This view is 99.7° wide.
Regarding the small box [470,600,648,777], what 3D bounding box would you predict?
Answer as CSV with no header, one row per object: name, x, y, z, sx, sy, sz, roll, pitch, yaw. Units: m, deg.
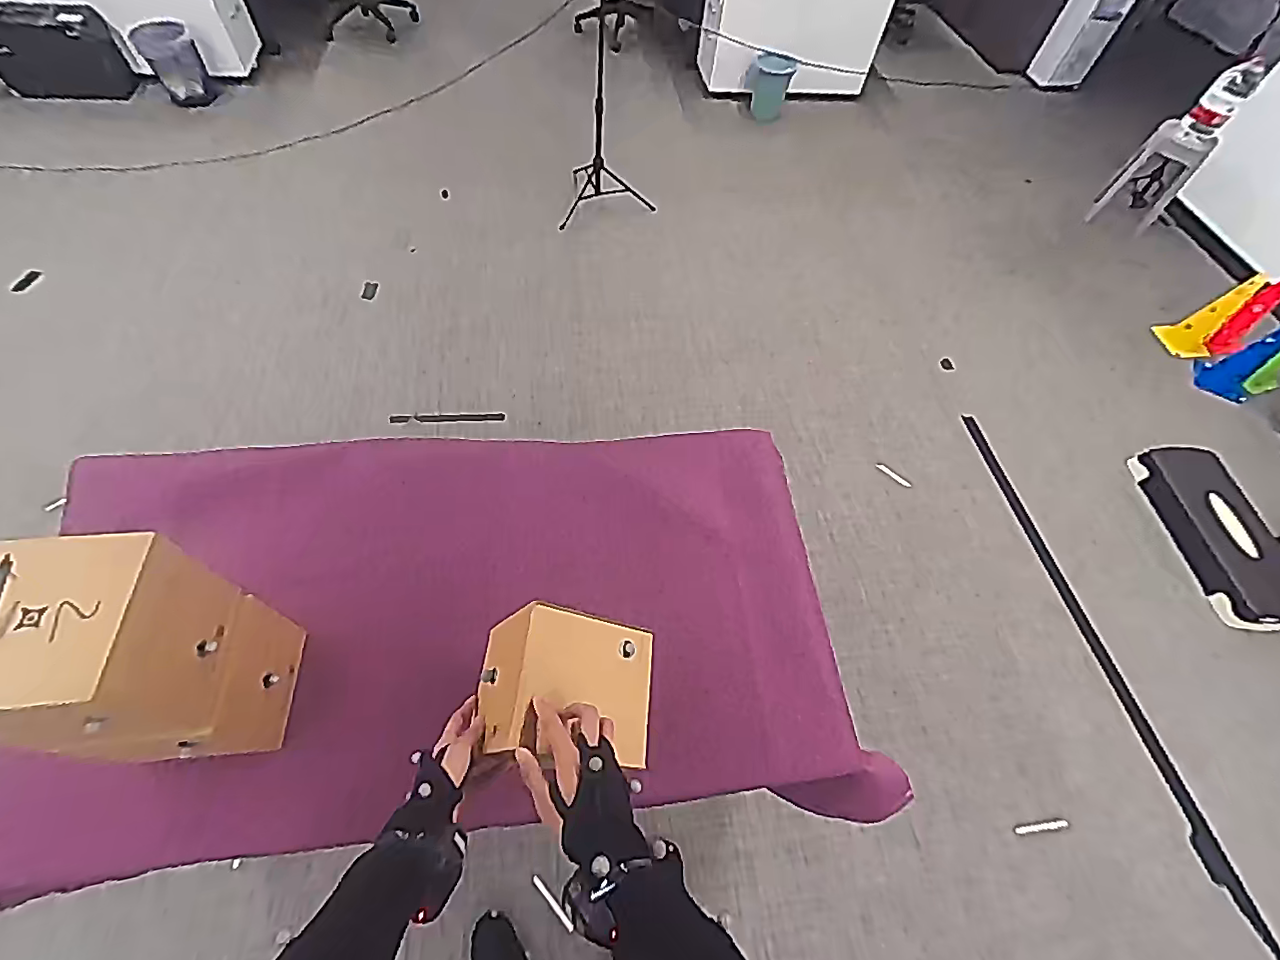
small box,-0.107,0.277,0.699,0.179,0.168,0.176,22,54,-23

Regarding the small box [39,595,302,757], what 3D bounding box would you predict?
small box,-0.577,0.257,0.701,0.179,0.176,0.168,-1,58,-7
